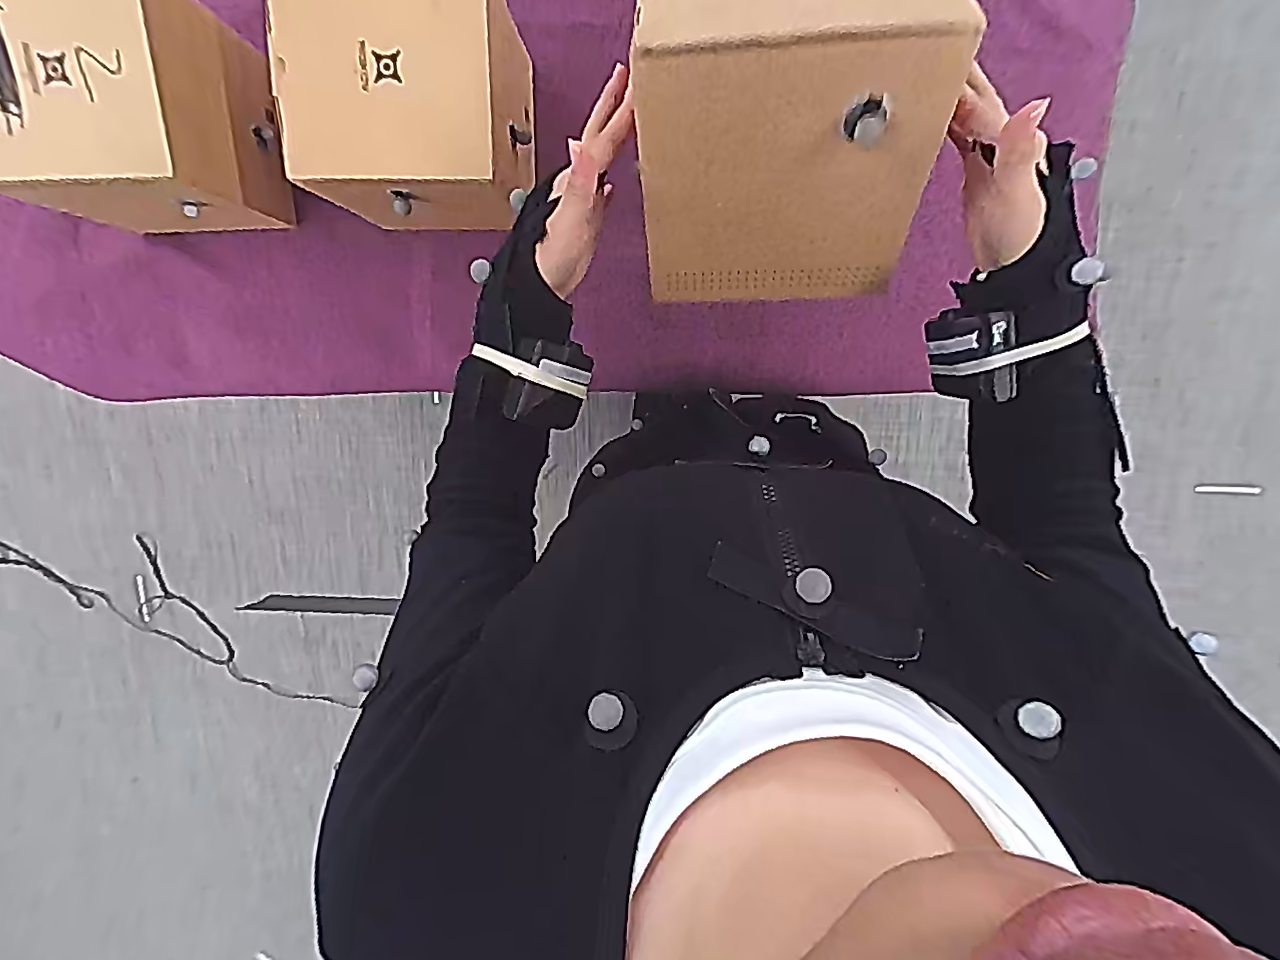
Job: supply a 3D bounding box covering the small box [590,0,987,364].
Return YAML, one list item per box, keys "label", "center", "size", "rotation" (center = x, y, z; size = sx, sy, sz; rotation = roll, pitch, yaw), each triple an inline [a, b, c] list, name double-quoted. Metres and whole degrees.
- label: "small box"
  center: [0.079, -0.185, 0.329]
  size: [0.179, 0.176, 0.168]
  rotation: [-2, 131, 8]

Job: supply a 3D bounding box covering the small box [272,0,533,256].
- label: "small box"
  center: [-0.203, -0.320, 0.517]
  size: [0.179, 0.176, 0.168]
  rotation: [1, 100, 3]
